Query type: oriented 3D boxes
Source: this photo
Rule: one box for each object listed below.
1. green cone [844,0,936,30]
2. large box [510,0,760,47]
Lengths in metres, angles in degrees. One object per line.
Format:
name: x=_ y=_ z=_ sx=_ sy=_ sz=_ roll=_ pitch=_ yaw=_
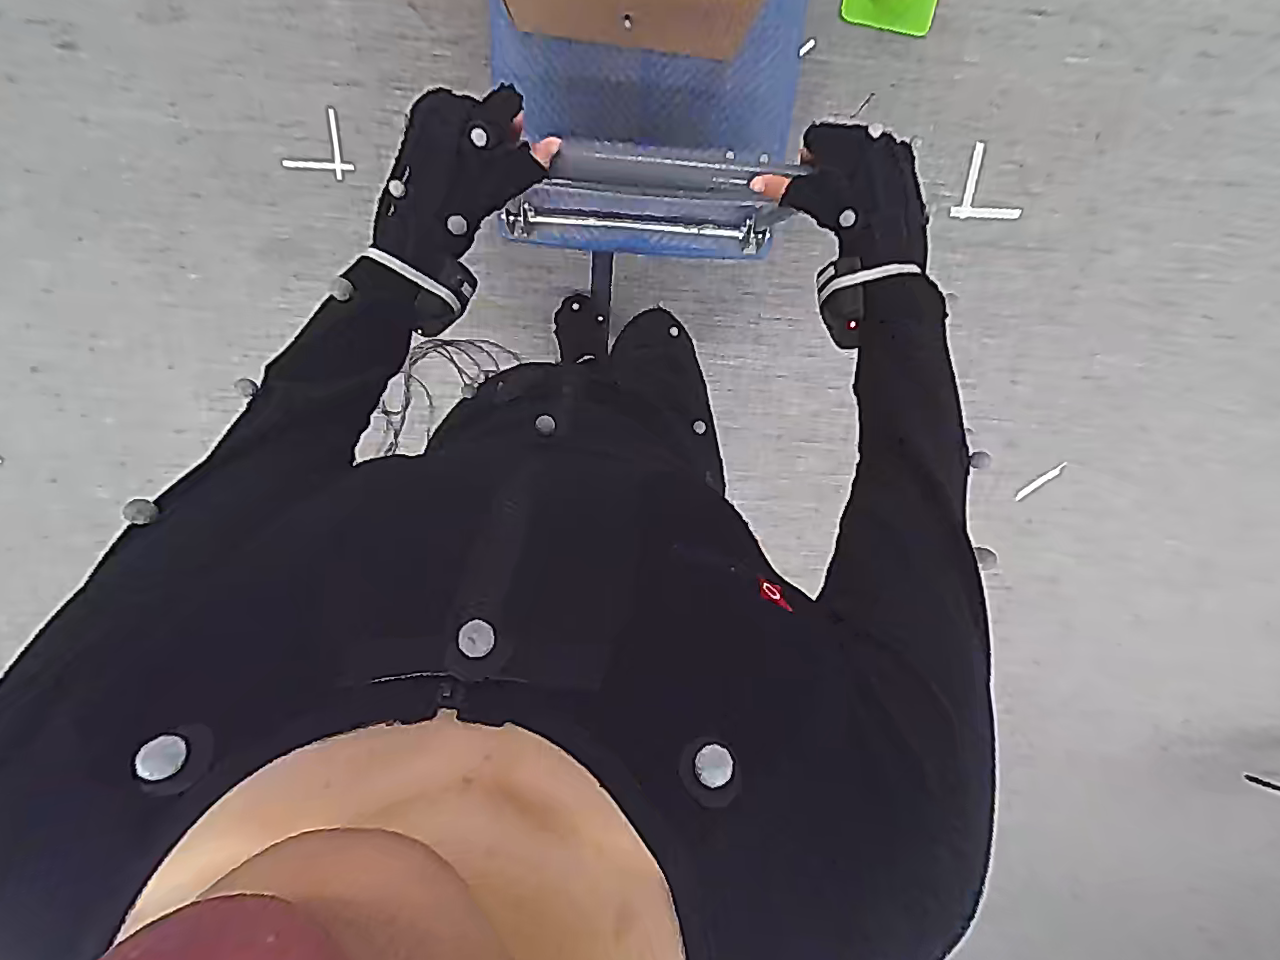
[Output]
green cone: x=0.544 y=-0.999 z=0.955 sx=0.202 sy=0.368 sz=0.200 roll=6 pitch=112 yaw=-6
large box: x=-0.005 y=-0.902 z=0.814 sx=0.408 sy=0.320 sz=0.320 roll=4 pitch=112 yaw=-3
